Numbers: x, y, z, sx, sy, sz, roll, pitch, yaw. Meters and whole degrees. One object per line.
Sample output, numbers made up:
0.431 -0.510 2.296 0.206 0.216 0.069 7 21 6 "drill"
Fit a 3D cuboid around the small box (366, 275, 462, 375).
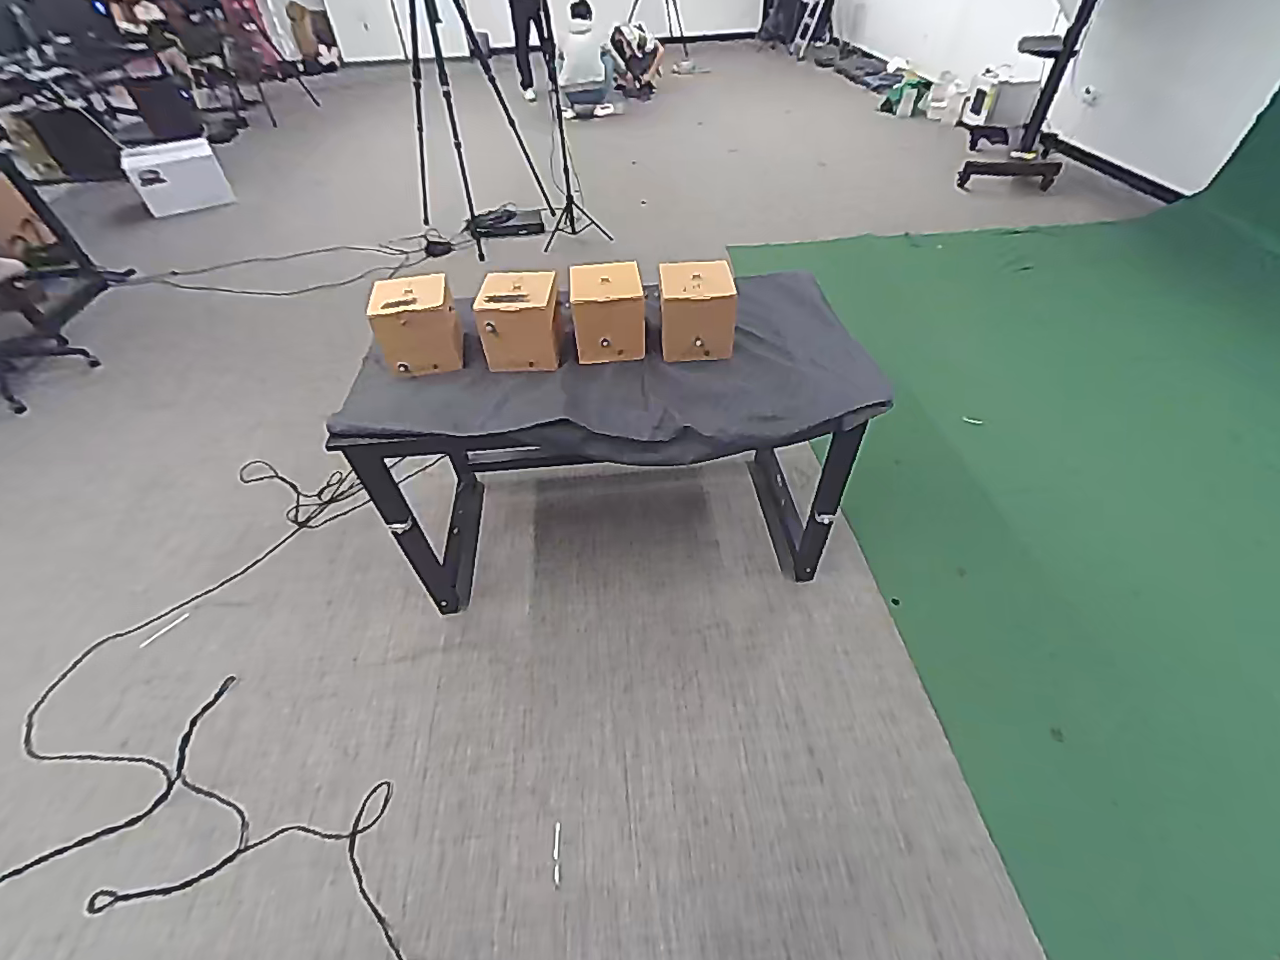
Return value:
-0.529 -0.364 1.291 0.168 0.176 0.179 -10 45 -8 "small box"
